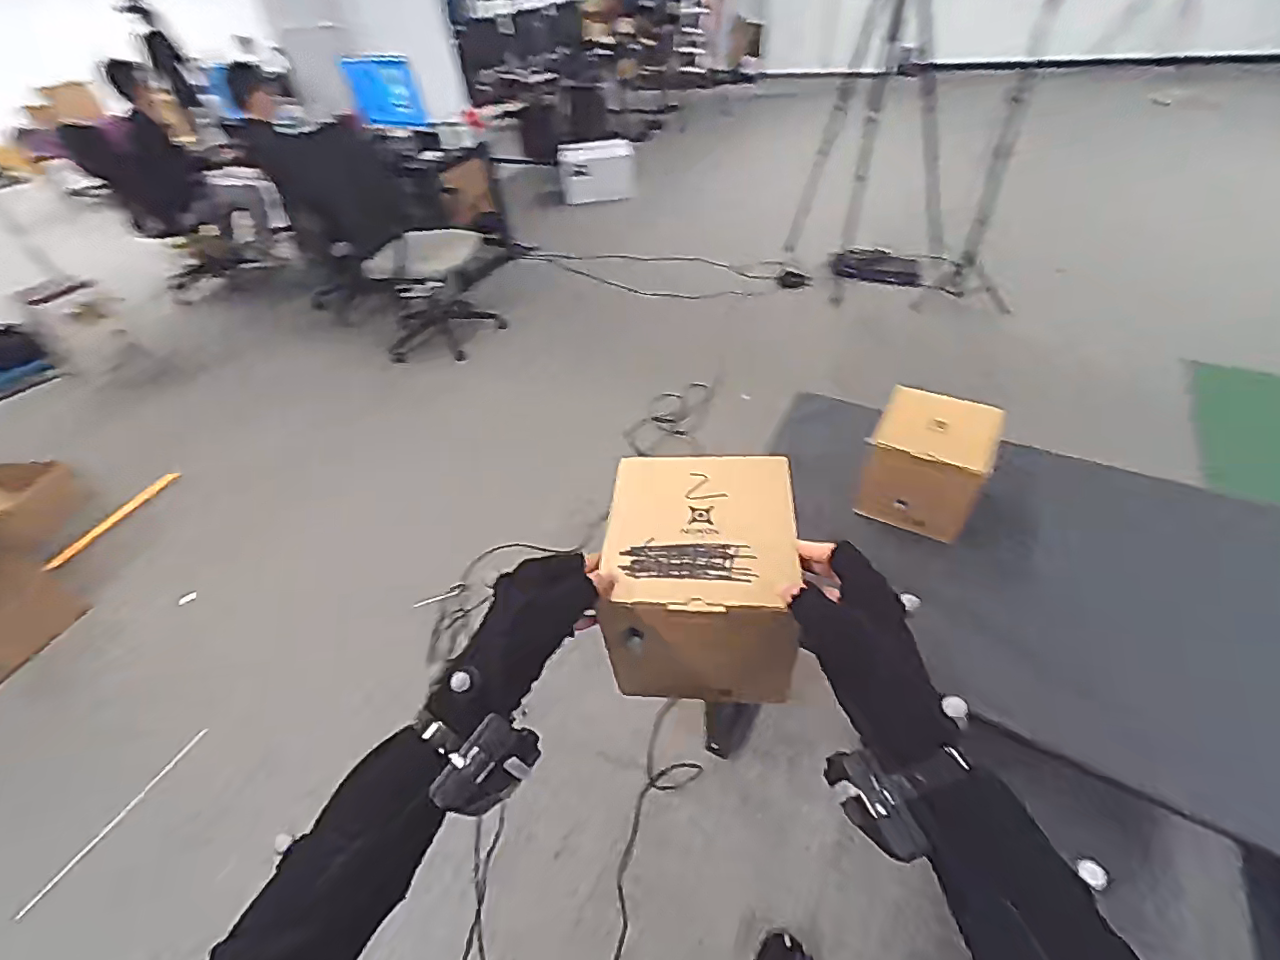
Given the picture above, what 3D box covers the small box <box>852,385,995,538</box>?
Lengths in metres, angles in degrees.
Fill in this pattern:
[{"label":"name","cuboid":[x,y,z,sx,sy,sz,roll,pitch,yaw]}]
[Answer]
[{"label":"small box","cuboid":[0.485,-0.033,0.939,0.168,0.176,0.179,20,51,25]}]
